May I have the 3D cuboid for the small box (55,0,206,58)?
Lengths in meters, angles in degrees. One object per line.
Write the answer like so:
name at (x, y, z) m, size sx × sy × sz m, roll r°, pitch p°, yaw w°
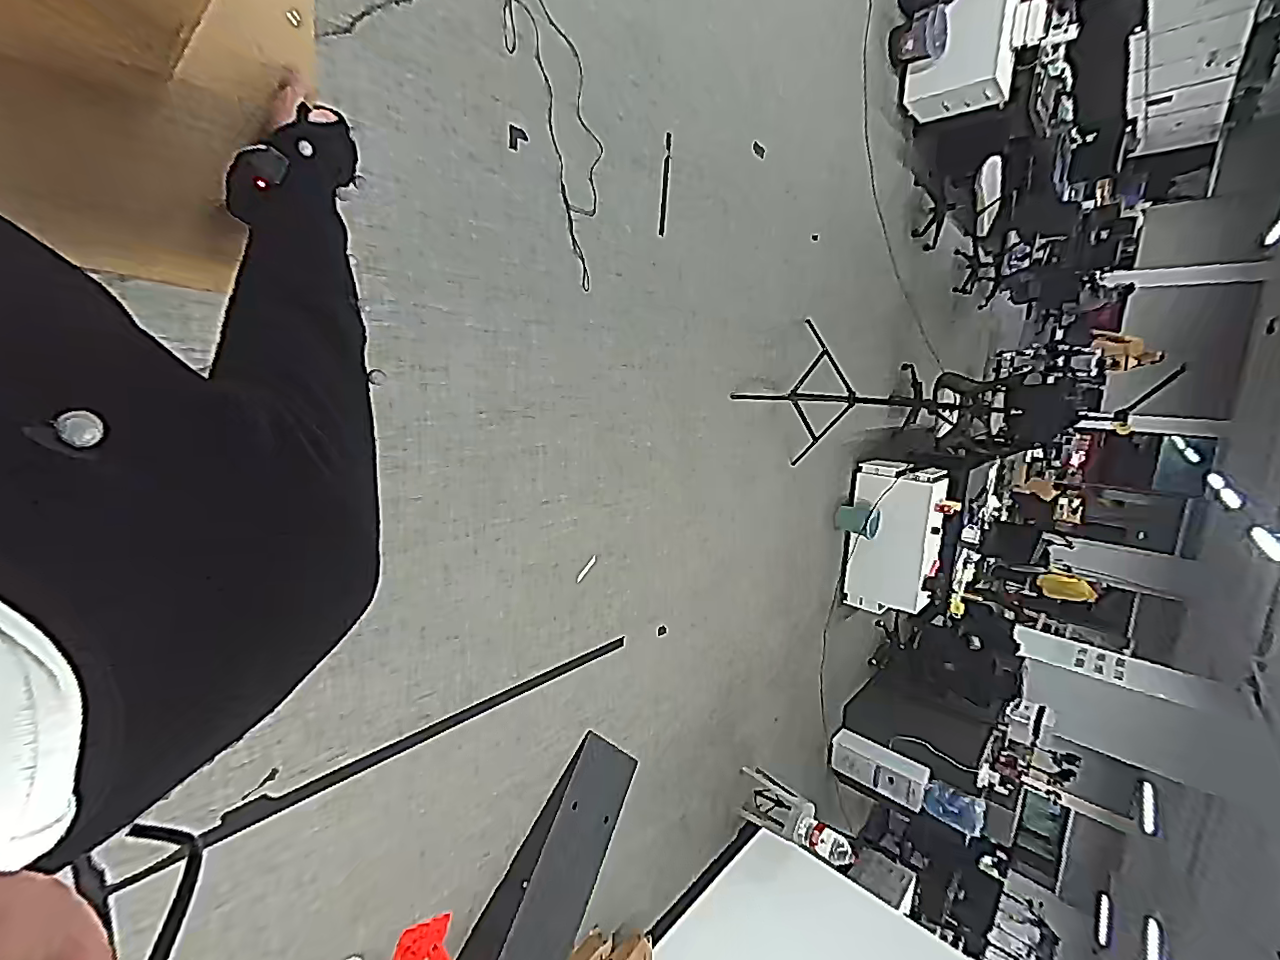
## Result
small box at (-0.421, -0.476, 0.403) m, size 0.179 × 0.176 × 0.168 m, roll 13°, pitch 82°, yaw -50°
